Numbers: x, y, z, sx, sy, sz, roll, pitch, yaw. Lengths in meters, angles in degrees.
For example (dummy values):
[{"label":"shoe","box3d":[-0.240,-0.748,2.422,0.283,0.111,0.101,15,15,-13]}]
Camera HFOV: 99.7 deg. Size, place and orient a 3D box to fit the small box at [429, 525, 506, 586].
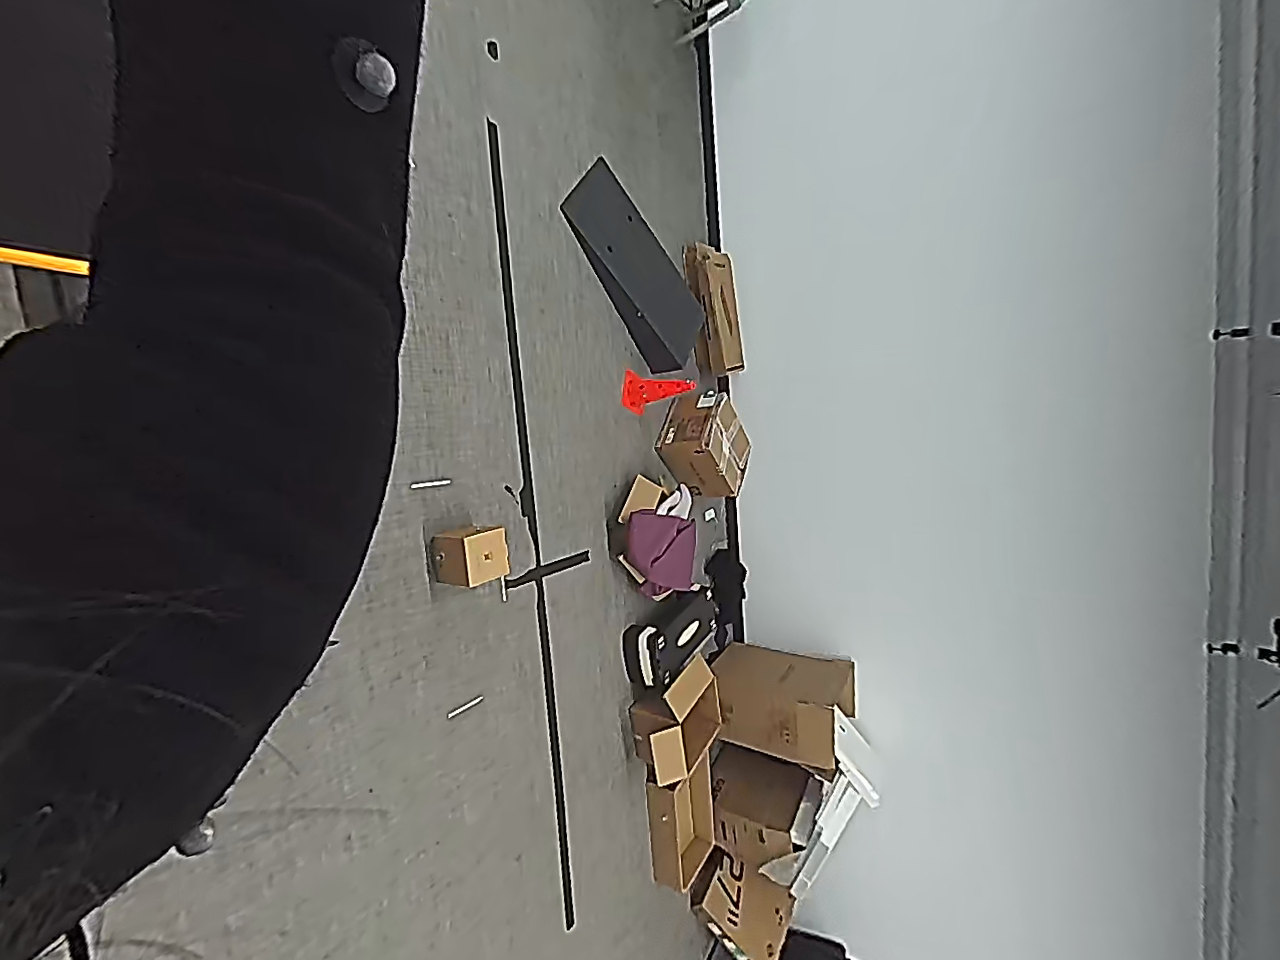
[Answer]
[{"label":"small box","box3d":[-0.583,0.249,1.831,0.179,0.176,0.168,-14,100,-56]}]
